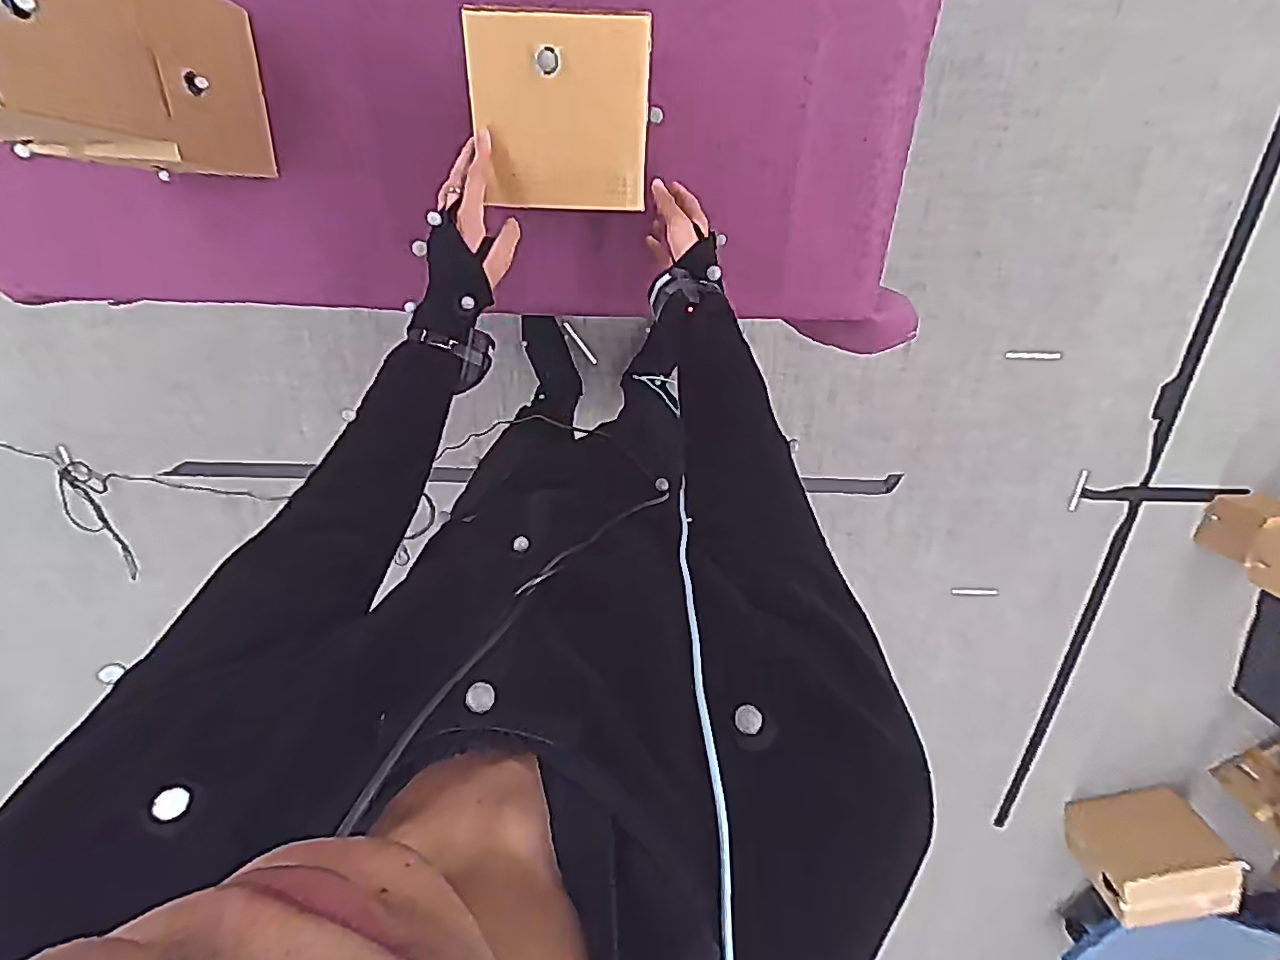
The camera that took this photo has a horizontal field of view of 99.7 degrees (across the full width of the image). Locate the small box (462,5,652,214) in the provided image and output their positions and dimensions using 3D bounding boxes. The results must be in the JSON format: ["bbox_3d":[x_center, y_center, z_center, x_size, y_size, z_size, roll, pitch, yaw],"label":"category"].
[{"bbox_3d":[-0.078,-0.398,0.602,0.179,0.168,0.176,1,120,0],"label":"small box"}]

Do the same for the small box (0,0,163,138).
[{"bbox_3d":[-0.549,-0.388,0.436,0.168,0.176,0.179,-1,114,0],"label":"small box"}]

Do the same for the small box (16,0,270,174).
[{"bbox_3d":[-0.546,-0.445,0.591,0.168,0.176,0.179,3,114,-2],"label":"small box"}]
